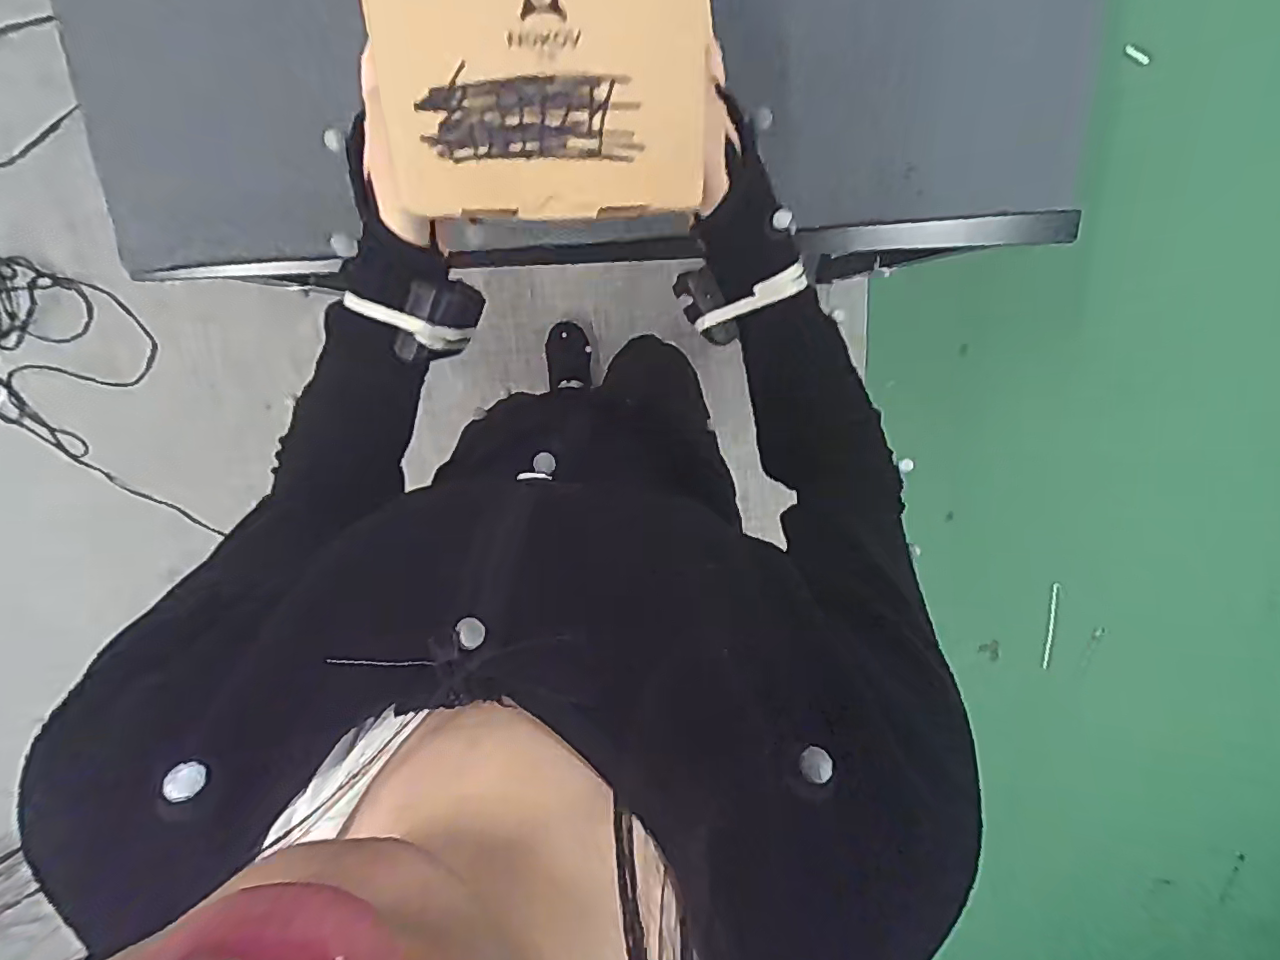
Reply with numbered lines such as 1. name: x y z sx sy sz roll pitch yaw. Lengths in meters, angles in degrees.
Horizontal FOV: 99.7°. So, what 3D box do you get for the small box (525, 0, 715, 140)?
1. small box: -0.030 -0.474 0.540 0.168 0.176 0.179 -9 104 -3
